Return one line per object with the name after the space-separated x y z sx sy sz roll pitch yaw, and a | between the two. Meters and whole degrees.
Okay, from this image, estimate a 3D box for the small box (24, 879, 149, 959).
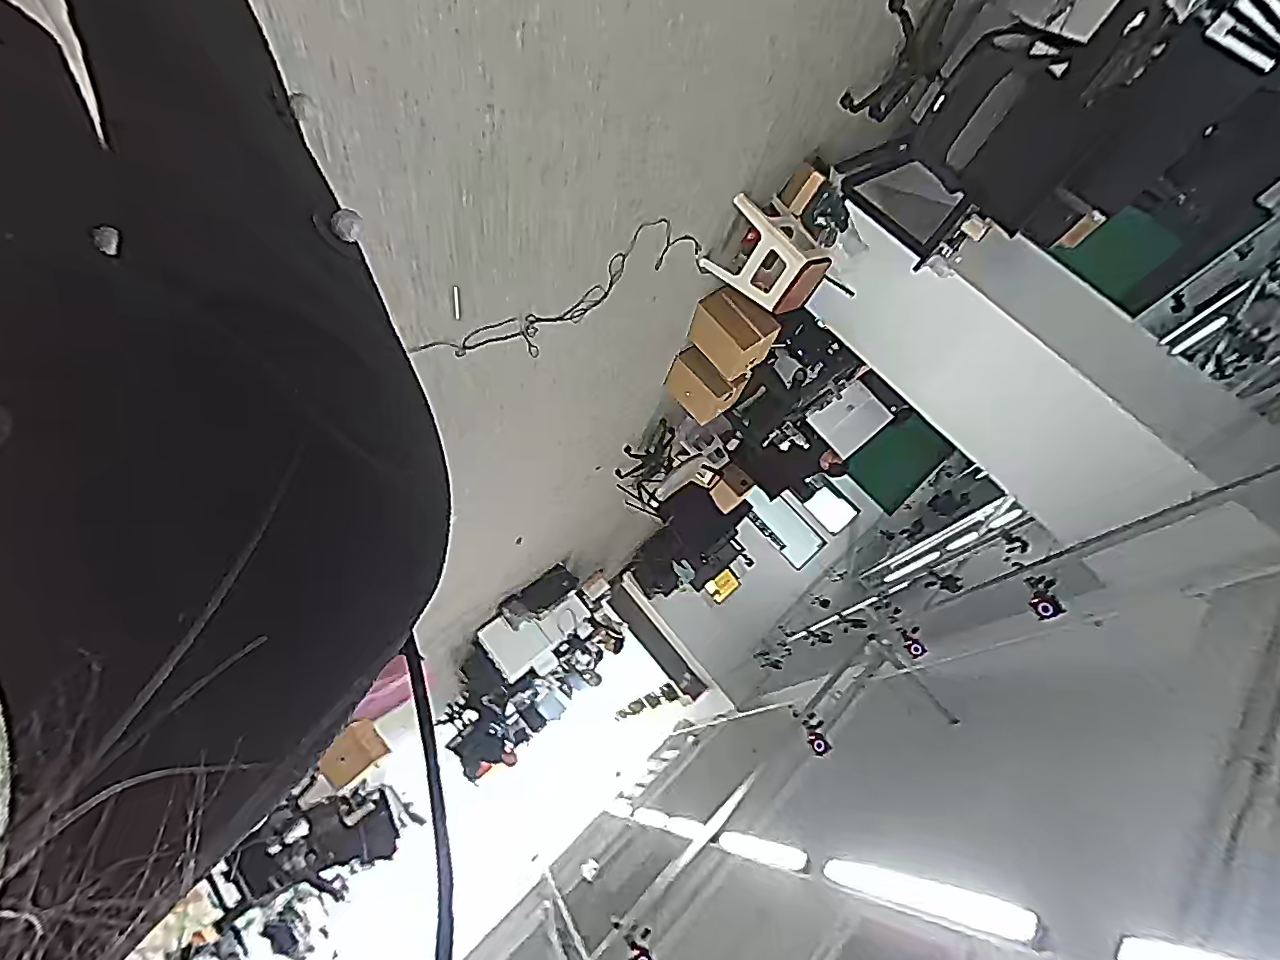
-1.564 1.270 1.533 0.179 0.176 0.168 -32 165 -34 | small box

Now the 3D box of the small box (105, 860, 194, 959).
-1.603 1.373 1.742 0.179 0.176 0.168 -34 164 -28 | small box
